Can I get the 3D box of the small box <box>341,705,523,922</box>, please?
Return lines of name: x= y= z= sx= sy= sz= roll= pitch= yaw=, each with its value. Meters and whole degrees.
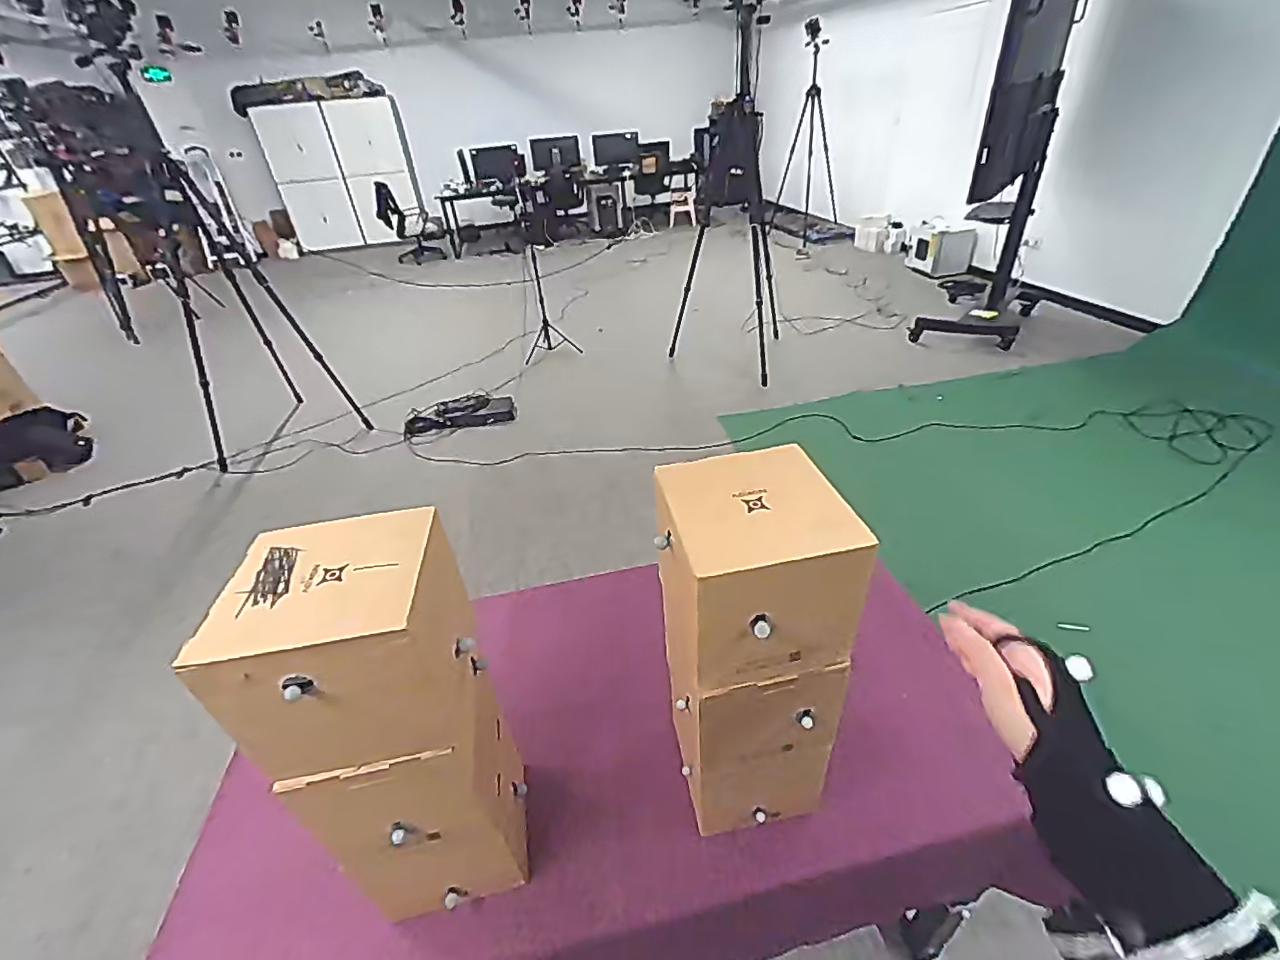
small box: x=-0.253 y=0.432 z=0.707 sx=0.179 sy=0.176 sz=0.168 roll=-11 pitch=35 yaw=-9

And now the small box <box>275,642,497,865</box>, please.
small box: x=-0.266 y=0.293 z=0.617 sx=0.168 sy=0.176 sz=0.179 roll=-11 pitch=35 yaw=-6

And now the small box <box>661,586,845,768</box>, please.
small box: x=0.127 y=0.225 z=0.665 sx=0.168 sy=0.176 sz=0.179 roll=-10 pitch=35 yaw=-7

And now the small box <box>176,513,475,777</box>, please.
small box: x=-0.274 y=0.158 z=0.525 sx=0.179 sy=0.176 sz=0.168 roll=-8 pitch=35 yaw=-6

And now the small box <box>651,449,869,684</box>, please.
small box: x=0.113 y=0.092 z=0.572 sx=0.168 sy=0.176 sz=0.179 roll=-10 pitch=35 yaw=-7
